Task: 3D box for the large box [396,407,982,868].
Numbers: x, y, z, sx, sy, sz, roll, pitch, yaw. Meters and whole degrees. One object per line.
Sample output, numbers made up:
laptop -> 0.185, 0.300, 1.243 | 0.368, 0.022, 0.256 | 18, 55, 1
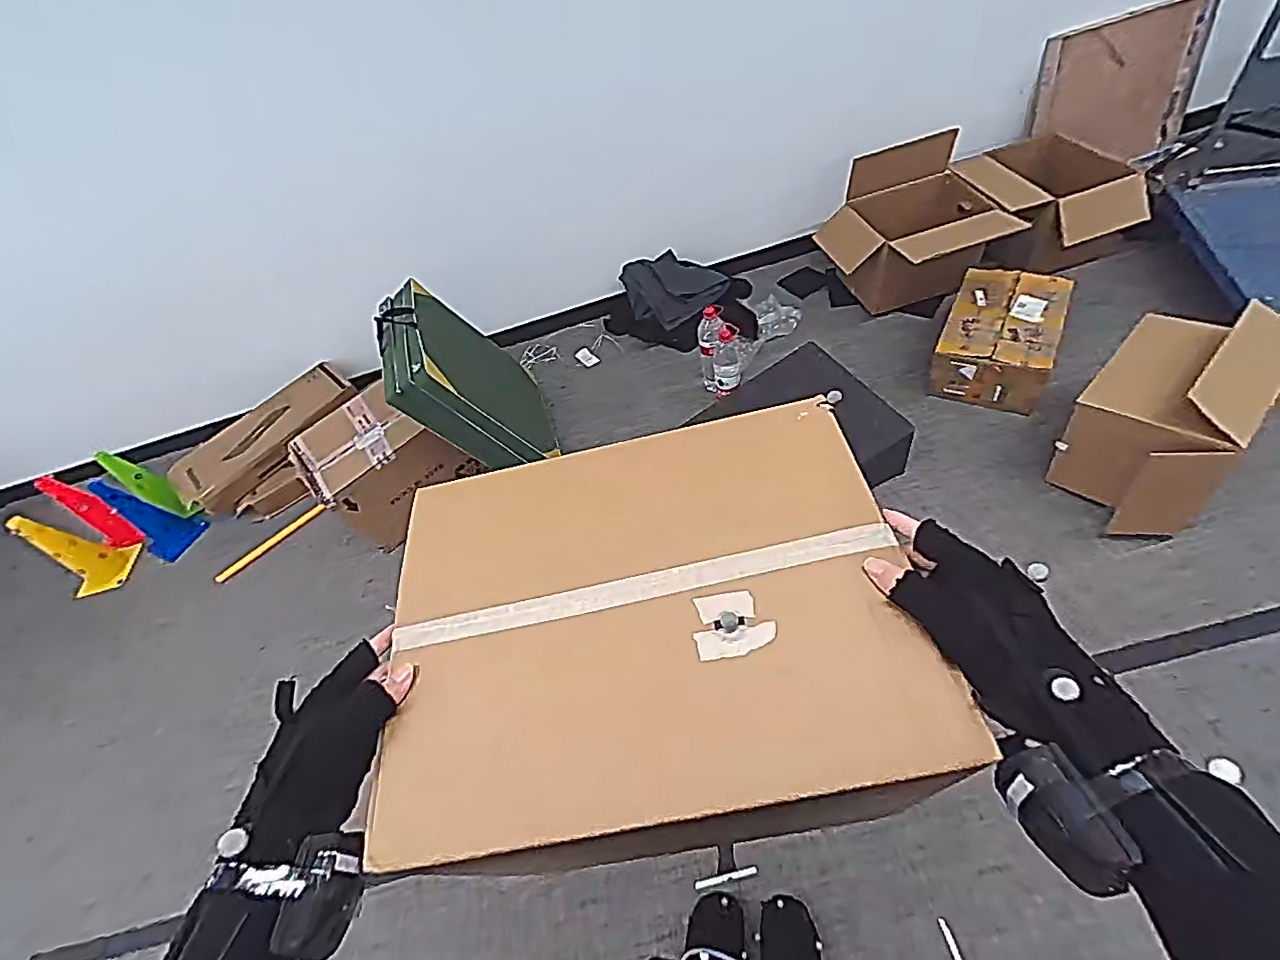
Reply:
large box -> 0.031, 0.178, 0.560 | 0.408, 0.320, 0.320 | -12, 53, 3
